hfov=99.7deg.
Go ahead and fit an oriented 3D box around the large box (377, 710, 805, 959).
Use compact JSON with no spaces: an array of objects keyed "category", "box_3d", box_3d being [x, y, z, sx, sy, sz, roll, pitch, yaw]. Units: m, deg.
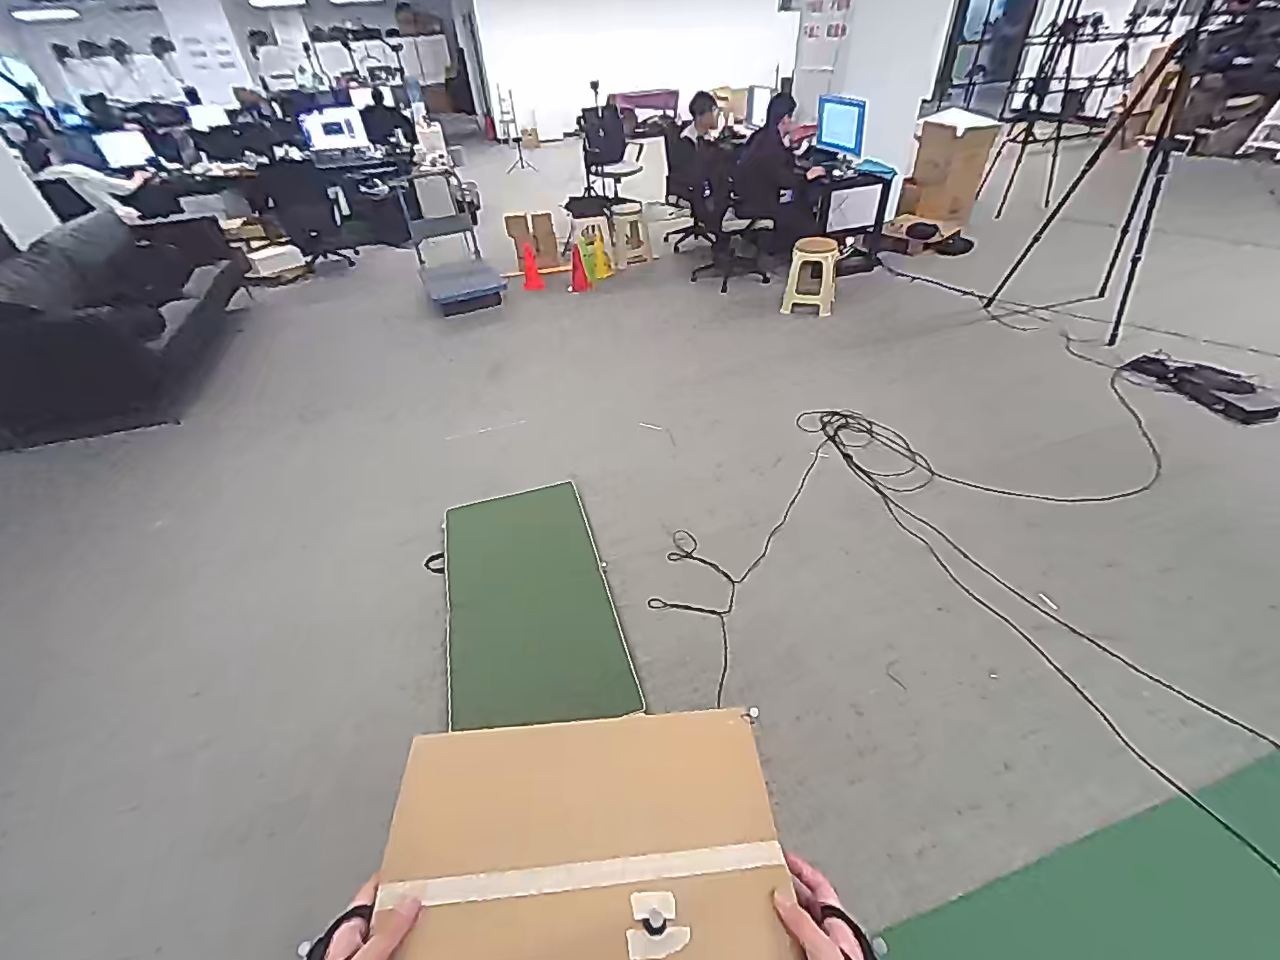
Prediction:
[{"category":"large box","box_3d":[-0.054,0.516,0.647,0.408,0.320,0.320,-3,42,-4]}]
